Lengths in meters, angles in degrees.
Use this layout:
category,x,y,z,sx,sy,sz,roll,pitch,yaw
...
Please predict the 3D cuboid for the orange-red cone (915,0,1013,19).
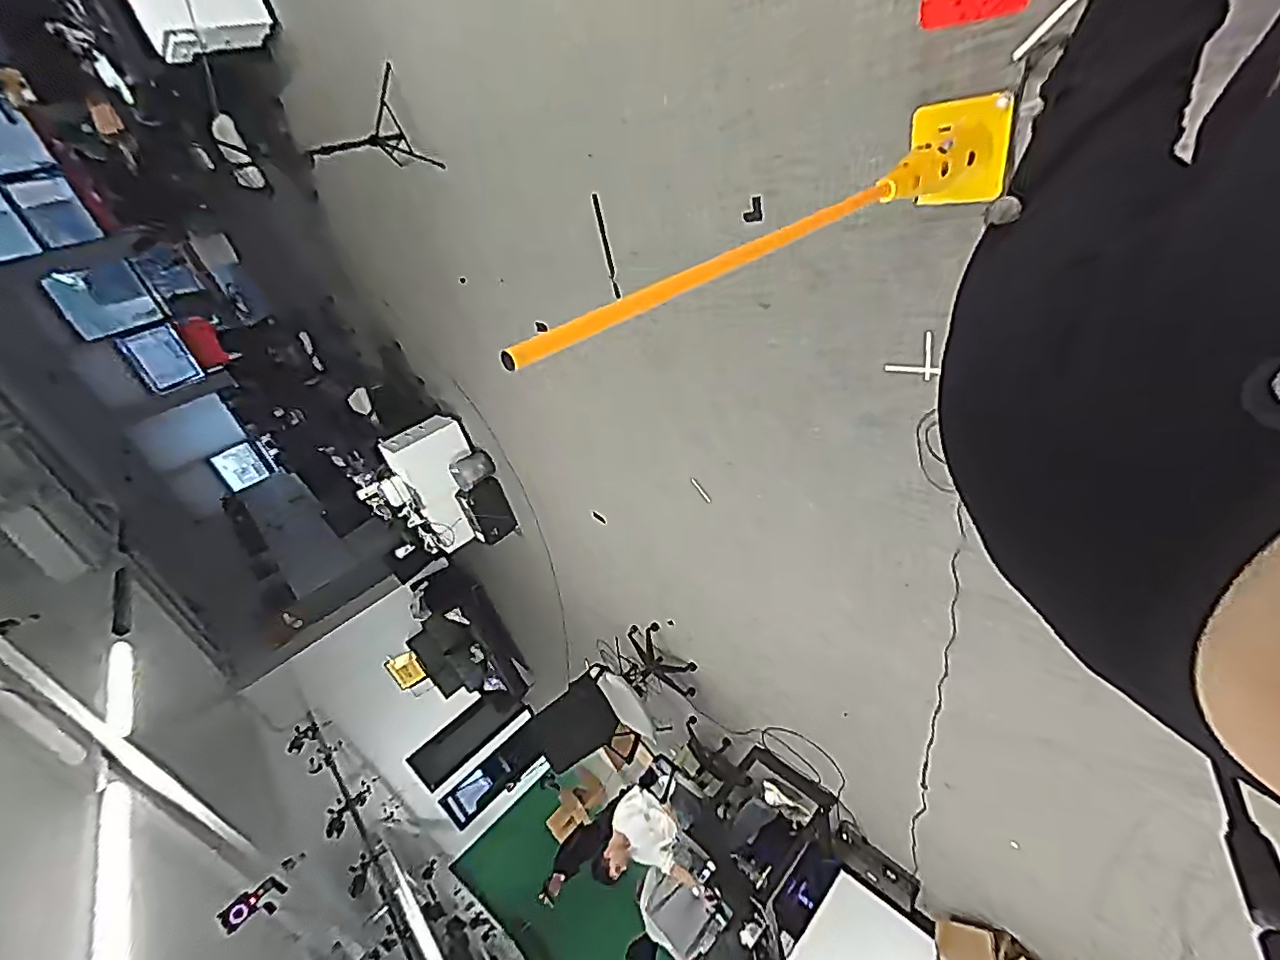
category,x,y,z,sx,sy,sz,roll,pitch,yaw
orange-red cone,0.509,-0.915,0.921,0.198,0.360,0.199,25,138,38
